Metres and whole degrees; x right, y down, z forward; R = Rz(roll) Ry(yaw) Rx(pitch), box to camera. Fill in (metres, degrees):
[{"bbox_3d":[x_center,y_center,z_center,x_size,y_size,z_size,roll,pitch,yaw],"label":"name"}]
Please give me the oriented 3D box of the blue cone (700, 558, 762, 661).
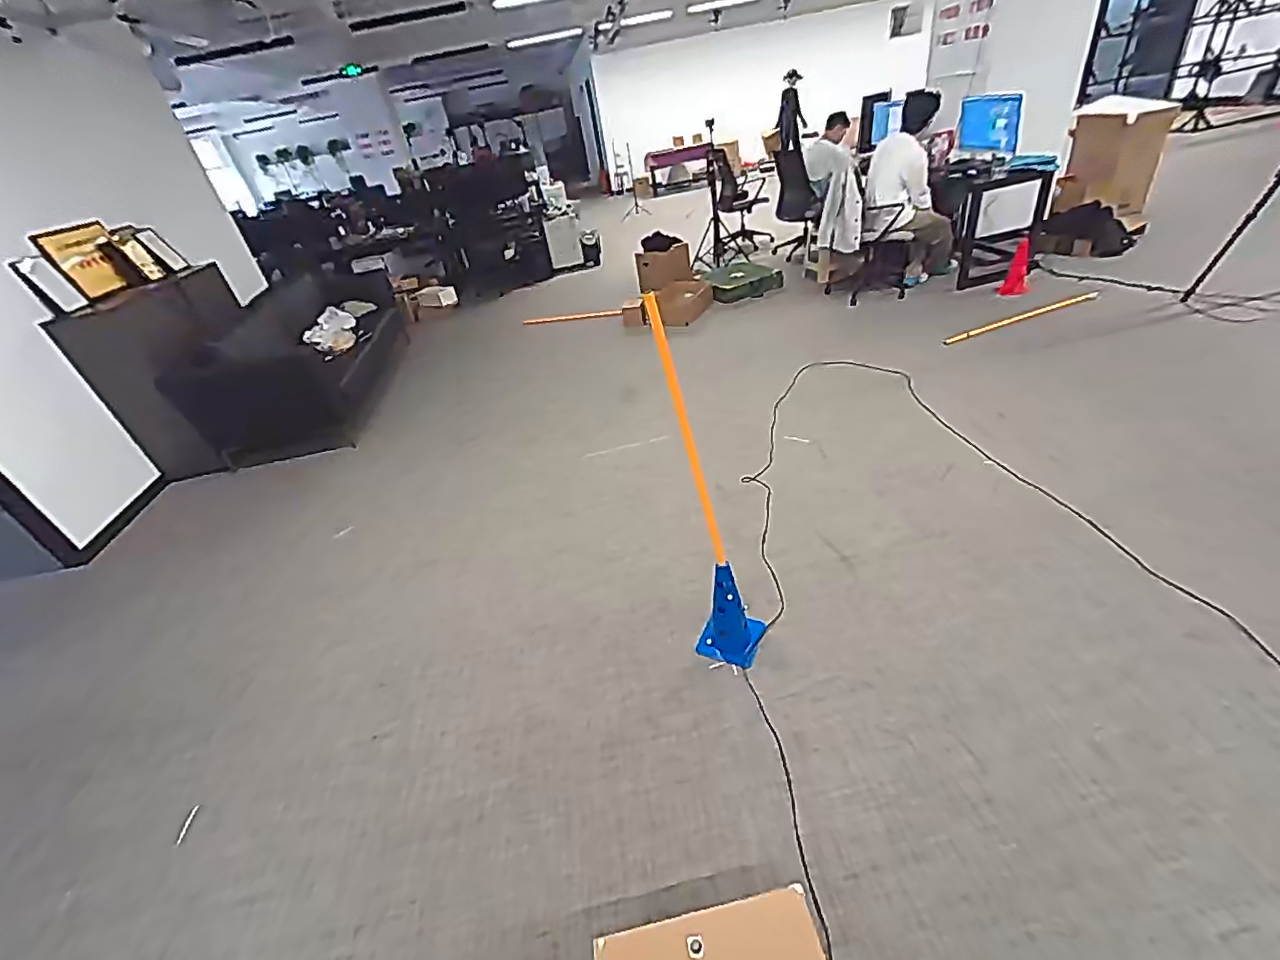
[{"bbox_3d":[0.285,0.402,1.765,0.192,0.380,0.193,6,39,25],"label":"blue cone"}]
